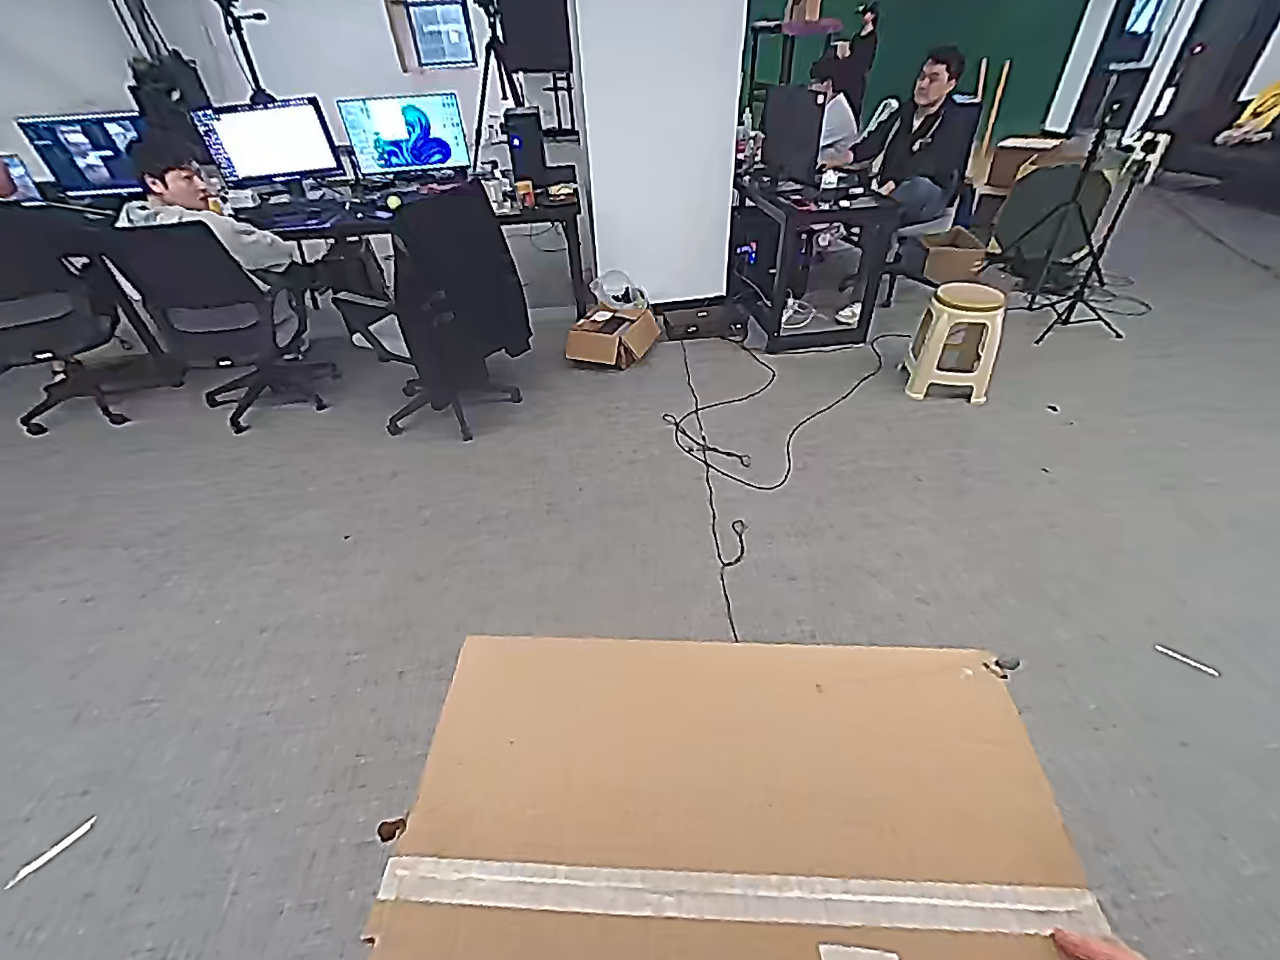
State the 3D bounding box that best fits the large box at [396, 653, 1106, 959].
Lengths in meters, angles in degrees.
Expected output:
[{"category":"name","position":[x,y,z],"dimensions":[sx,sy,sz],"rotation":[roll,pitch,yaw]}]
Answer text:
[{"category":"large box","position":[0.063,0.353,0.428],"dimensions":[0.408,0.320,0.320],"rotation":[1,47,3]}]
